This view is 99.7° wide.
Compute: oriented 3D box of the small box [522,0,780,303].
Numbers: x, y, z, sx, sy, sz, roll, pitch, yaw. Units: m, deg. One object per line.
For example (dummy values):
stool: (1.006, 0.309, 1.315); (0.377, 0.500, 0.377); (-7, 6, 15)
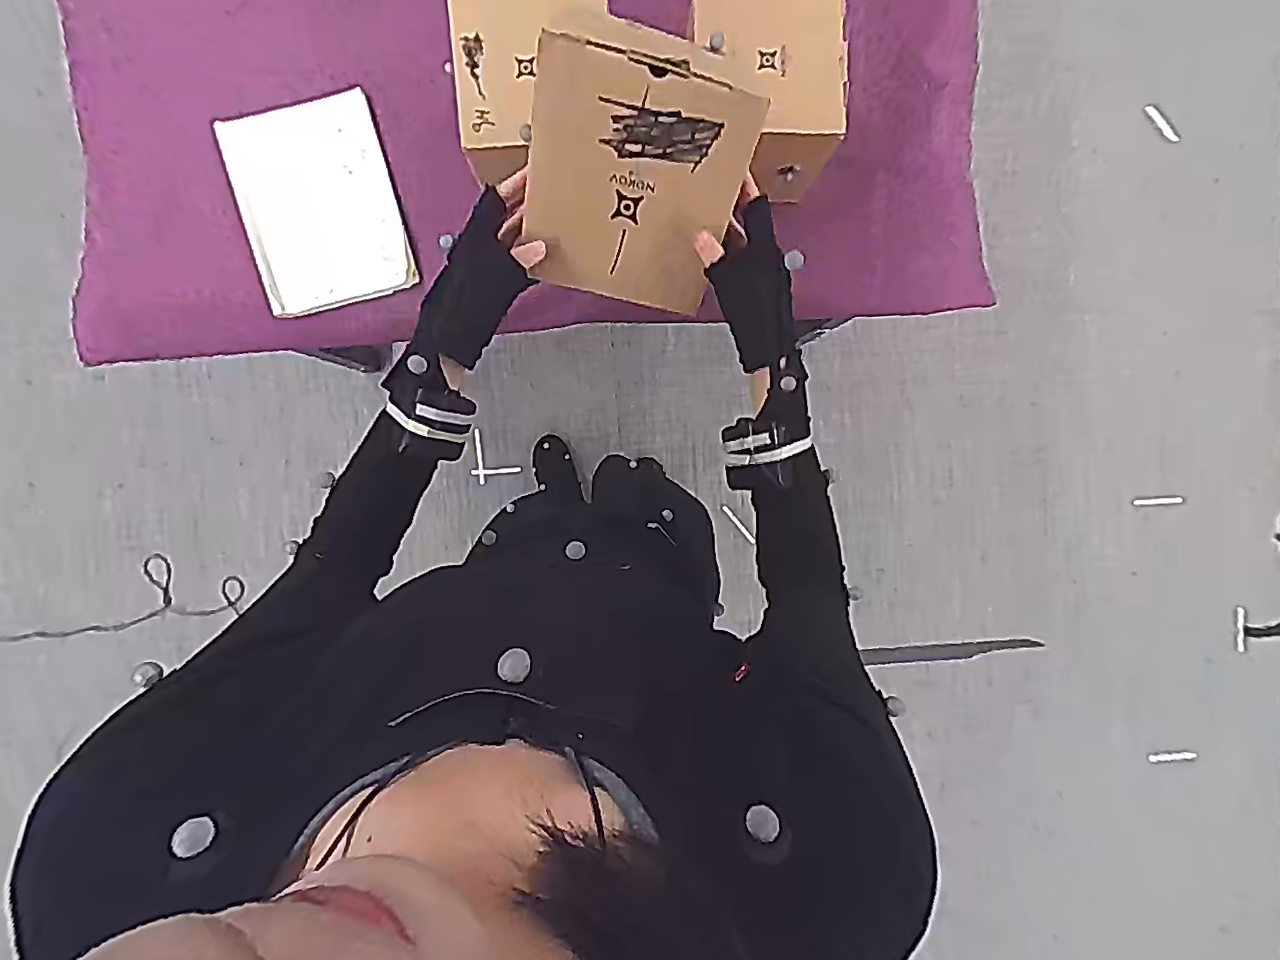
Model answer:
small box: (-0.002, -0.289, 0.471); (0.168, 0.176, 0.179); (10, 135, -10)

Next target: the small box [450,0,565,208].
small box: (-0.120, -0.456, 0.668); (0.179, 0.176, 0.168); (-4, 93, -4)

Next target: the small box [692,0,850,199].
small box: (0.145, -0.477, 0.683); (0.179, 0.176, 0.168); (-1, 91, -2)
